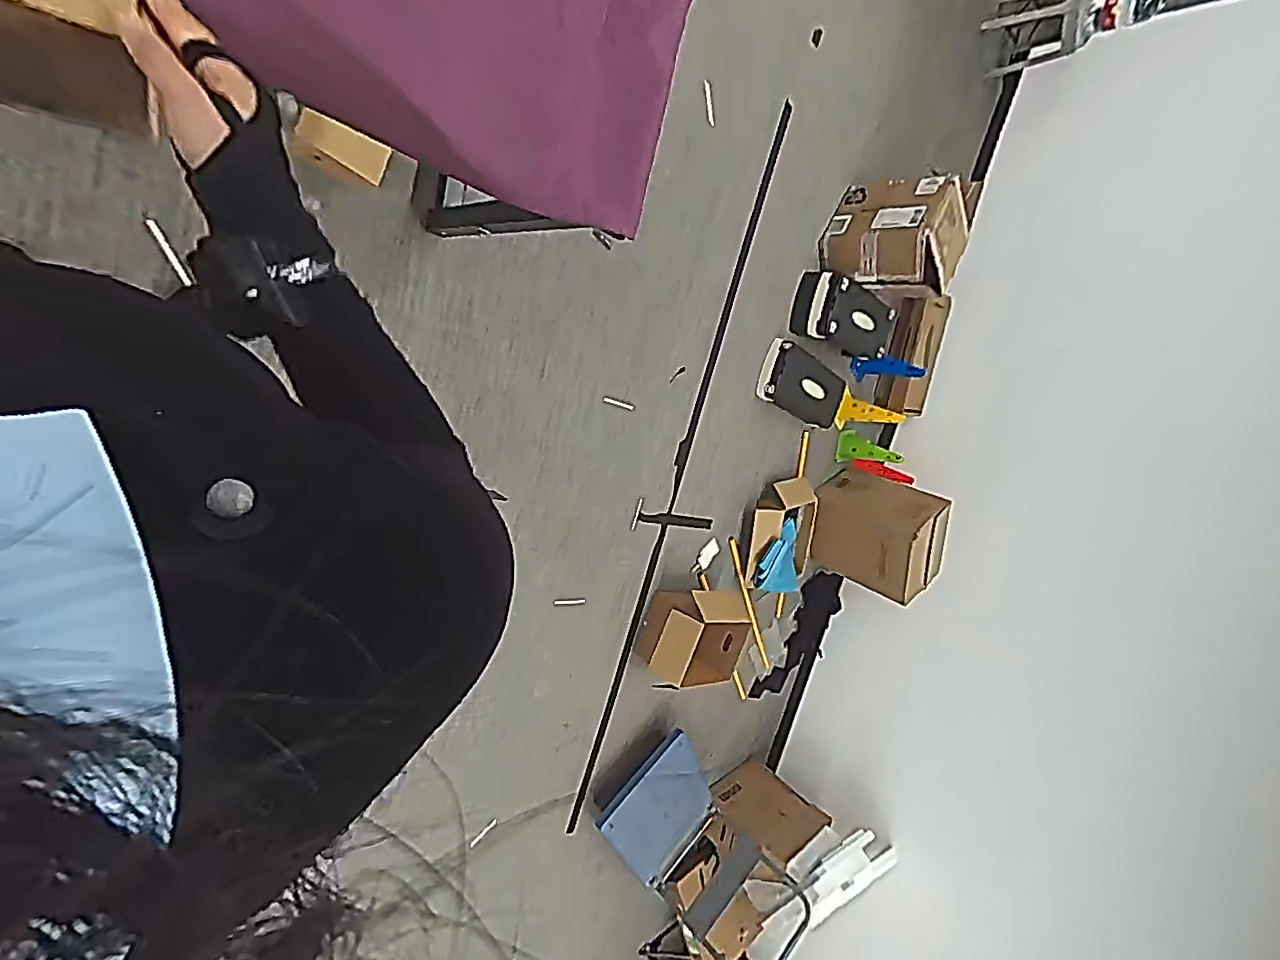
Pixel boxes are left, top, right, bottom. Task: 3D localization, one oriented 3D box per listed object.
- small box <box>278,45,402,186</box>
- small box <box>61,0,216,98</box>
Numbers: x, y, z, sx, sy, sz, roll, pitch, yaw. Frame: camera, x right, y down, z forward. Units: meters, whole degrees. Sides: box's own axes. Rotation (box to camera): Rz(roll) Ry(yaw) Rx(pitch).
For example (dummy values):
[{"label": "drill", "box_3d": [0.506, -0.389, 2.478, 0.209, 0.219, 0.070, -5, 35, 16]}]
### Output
[{"label": "small box", "box_3d": [-0.642, -0.755, 1.147, 0.168, 0.176, 0.179, 21, 91, -47]}, {"label": "small box", "box_3d": [-0.848, -0.797, 0.921, 0.168, 0.176, 0.179, 11, 98, -47]}]
